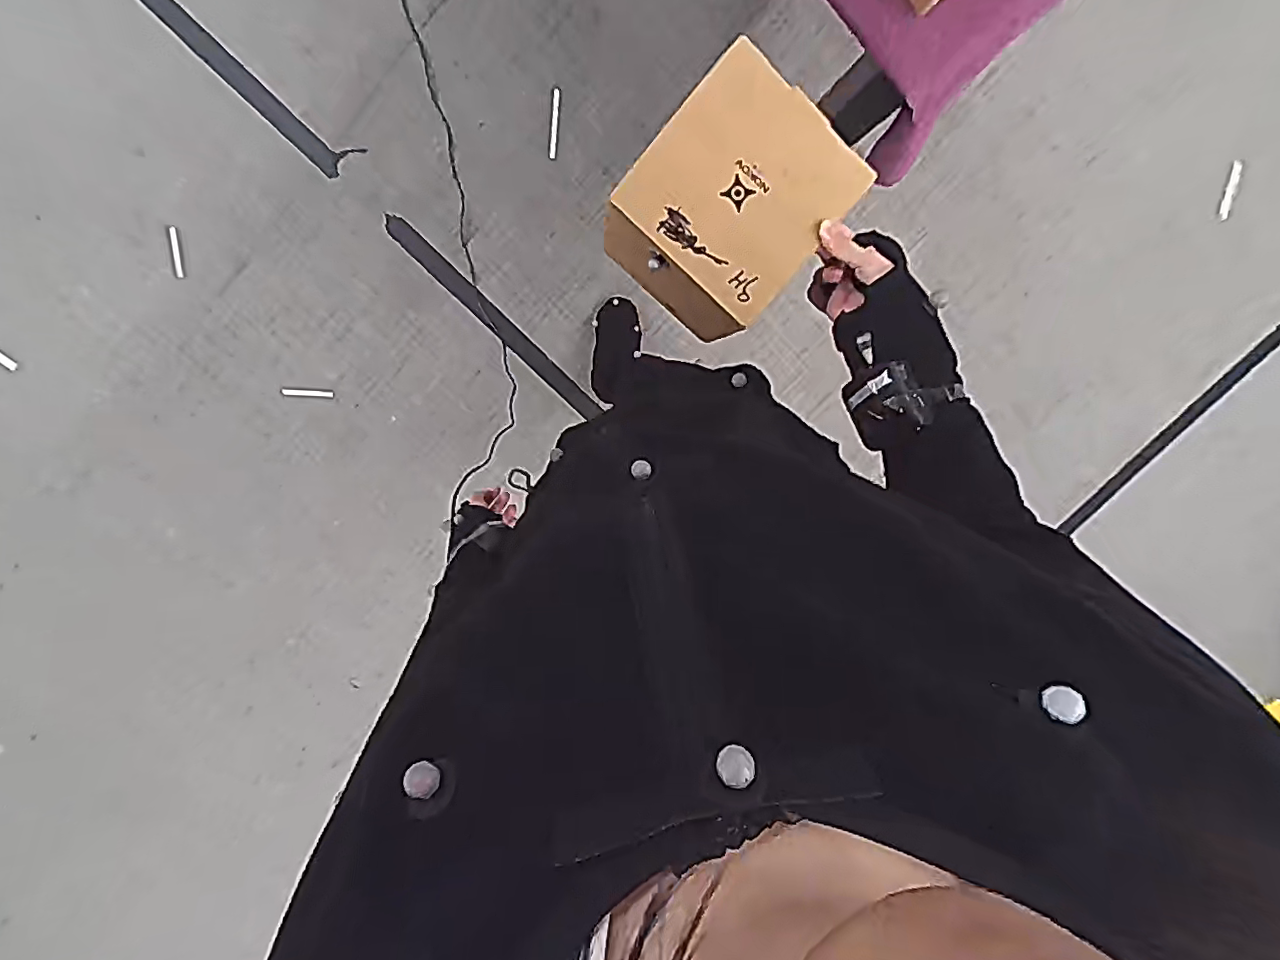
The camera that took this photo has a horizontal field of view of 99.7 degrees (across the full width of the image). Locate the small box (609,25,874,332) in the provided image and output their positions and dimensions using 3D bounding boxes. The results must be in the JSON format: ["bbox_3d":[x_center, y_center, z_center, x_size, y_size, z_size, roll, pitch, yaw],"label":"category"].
[{"bbox_3d":[0.081,-0.271,0.538,0.168,0.176,0.179,40,93,-11],"label":"small box"}]
